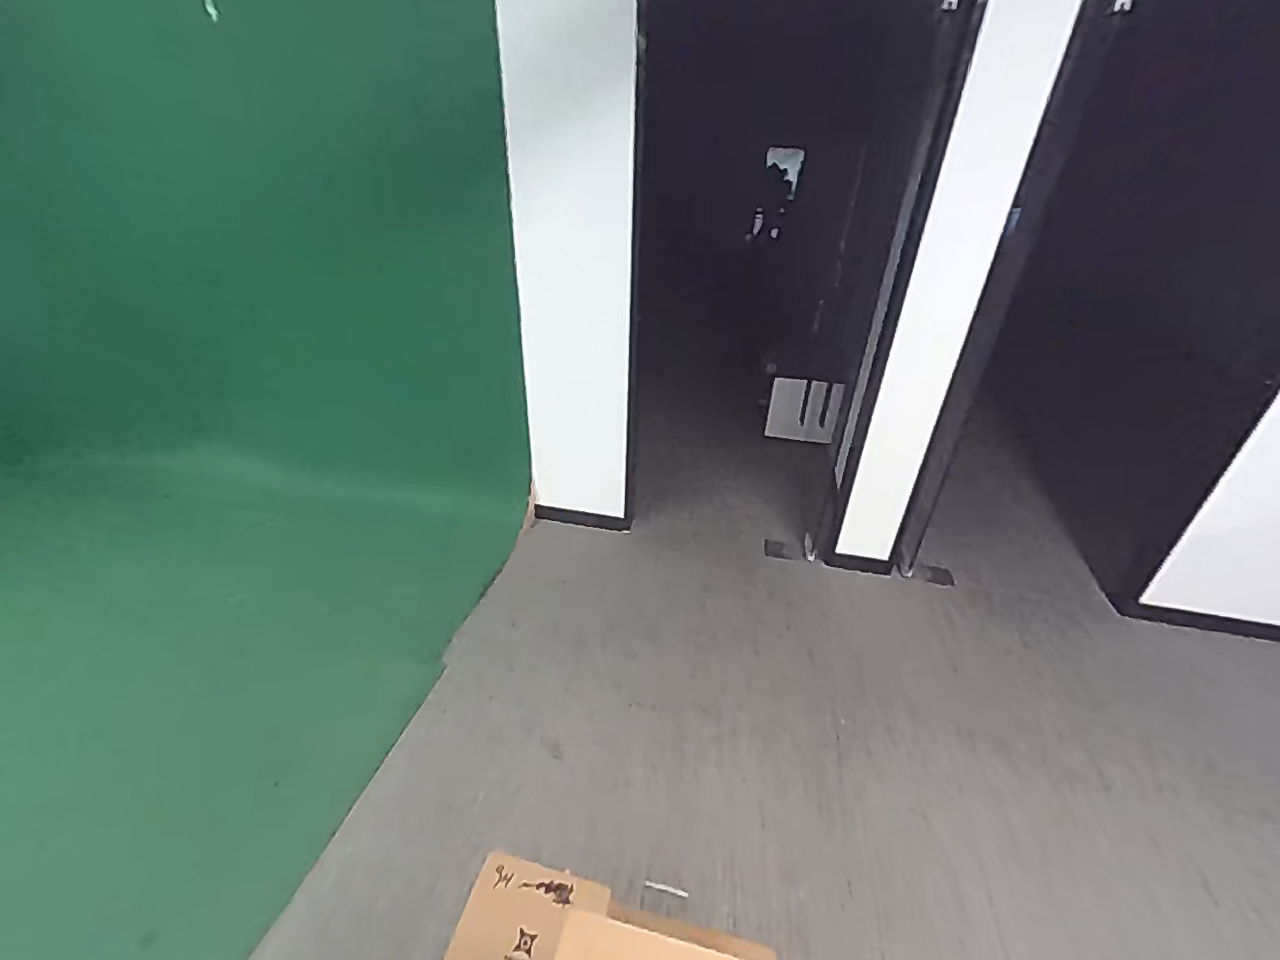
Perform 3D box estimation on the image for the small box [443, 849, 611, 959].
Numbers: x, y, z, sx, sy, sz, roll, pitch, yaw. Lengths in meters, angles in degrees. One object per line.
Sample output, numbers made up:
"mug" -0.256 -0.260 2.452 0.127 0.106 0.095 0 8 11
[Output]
"small box" -0.136 0.600 0.655 0.168 0.176 0.179 10 34 11
